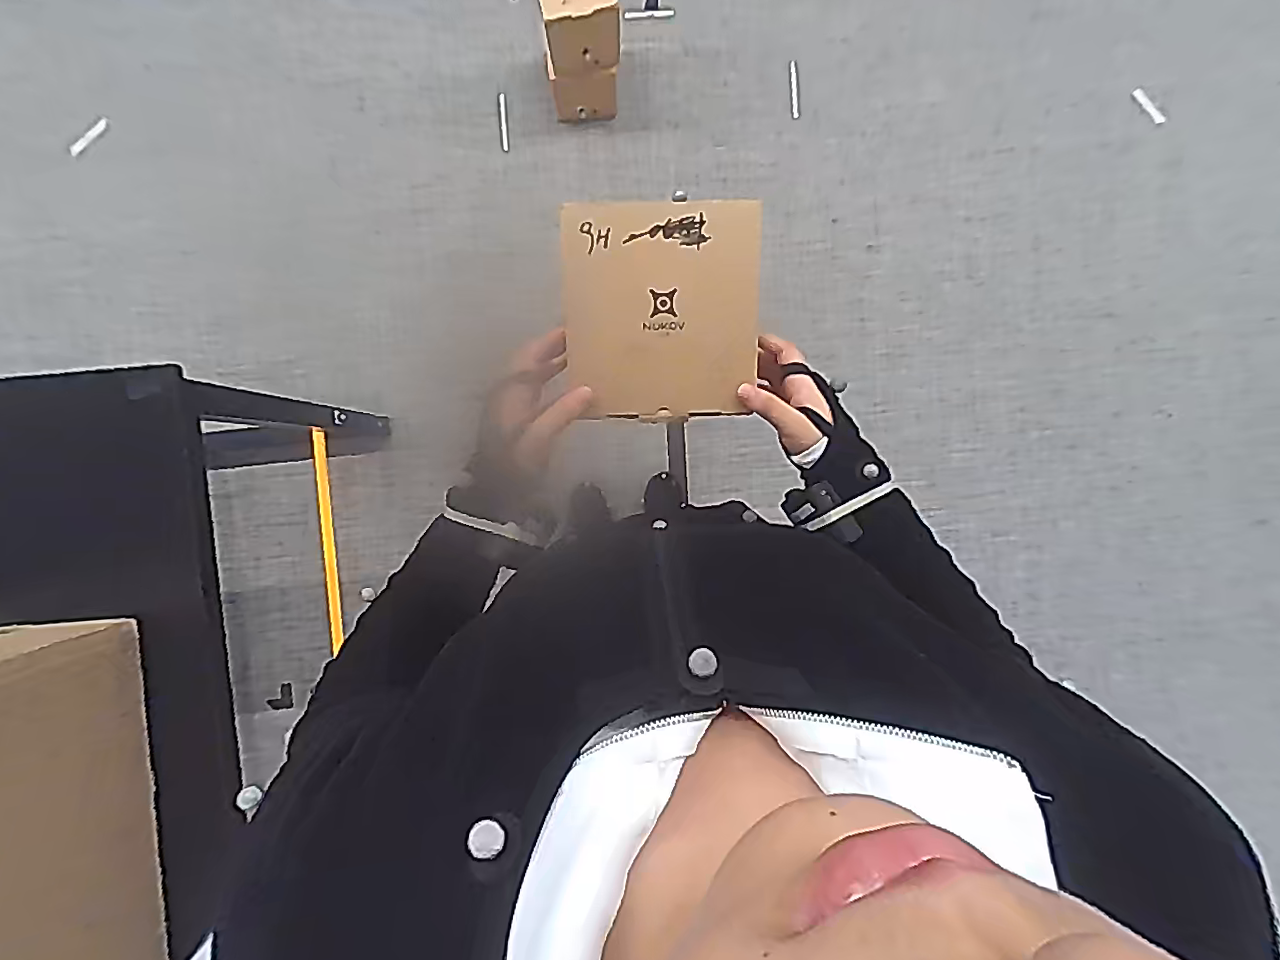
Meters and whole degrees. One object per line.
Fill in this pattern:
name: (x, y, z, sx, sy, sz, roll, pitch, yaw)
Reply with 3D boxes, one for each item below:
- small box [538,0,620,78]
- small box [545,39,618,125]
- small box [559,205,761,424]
small box: (-0.143, -1.065, 1.222, 0.168, 0.176, 0.179, -13, 92, 0)
small box: (-0.149, -1.056, 1.387, 0.168, 0.176, 0.179, -8, 93, -1)
small box: (0.015, -0.156, 0.532, 0.168, 0.176, 0.179, -2, 104, -2)
